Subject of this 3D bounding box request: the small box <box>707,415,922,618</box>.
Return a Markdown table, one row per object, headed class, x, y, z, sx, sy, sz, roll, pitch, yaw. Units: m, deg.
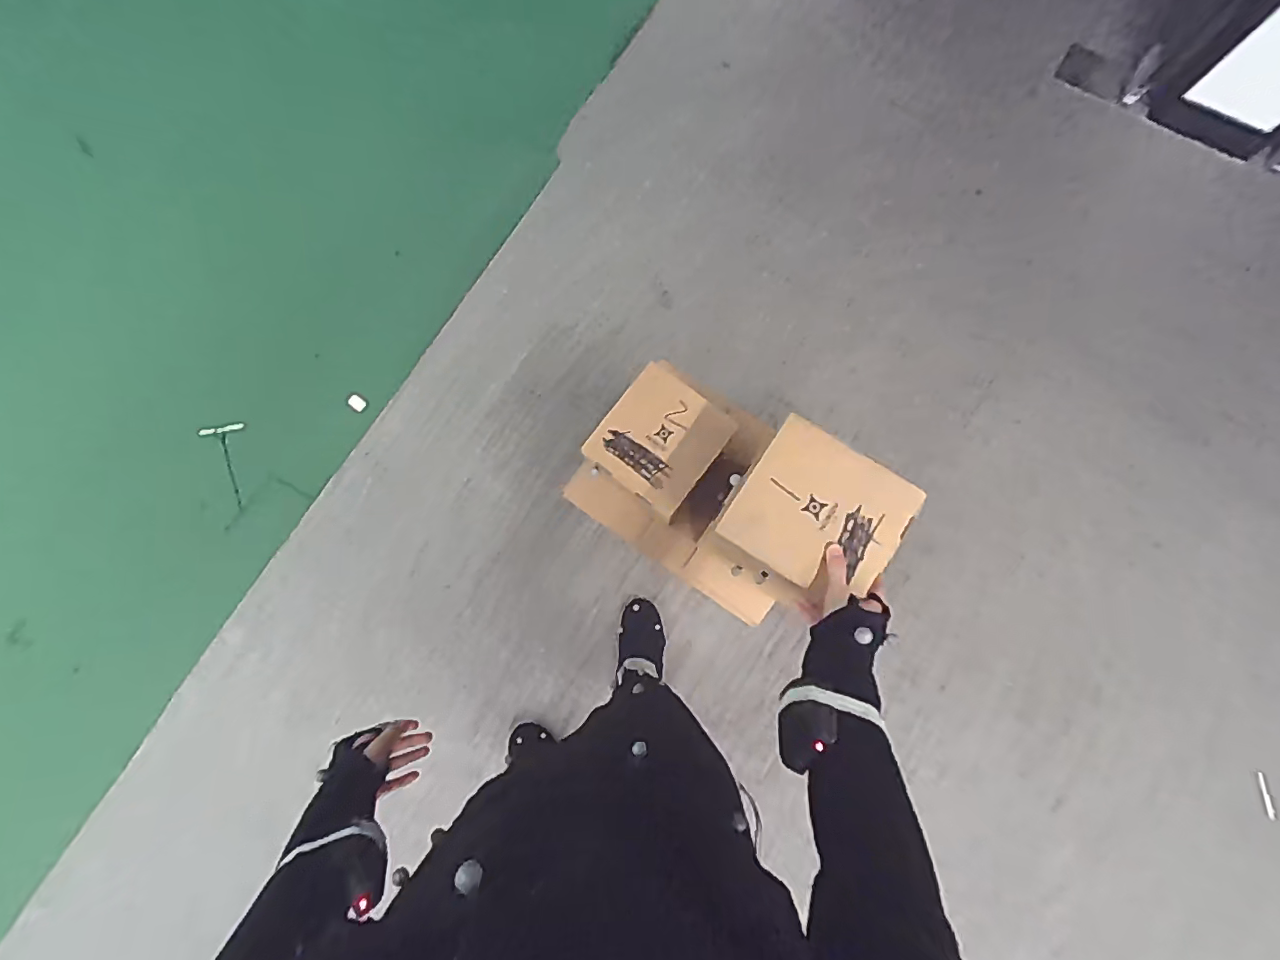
| class | x | y | z | sx | sy | sz | roll | pitch | yaw |
| --- | --- | --- | --- | --- | --- | --- | --- | --- | --- |
| small box | 0.201 | 0.050 | 0.674 | 0.179 | 0.176 | 0.168 | 33 | 82 | 10 |
